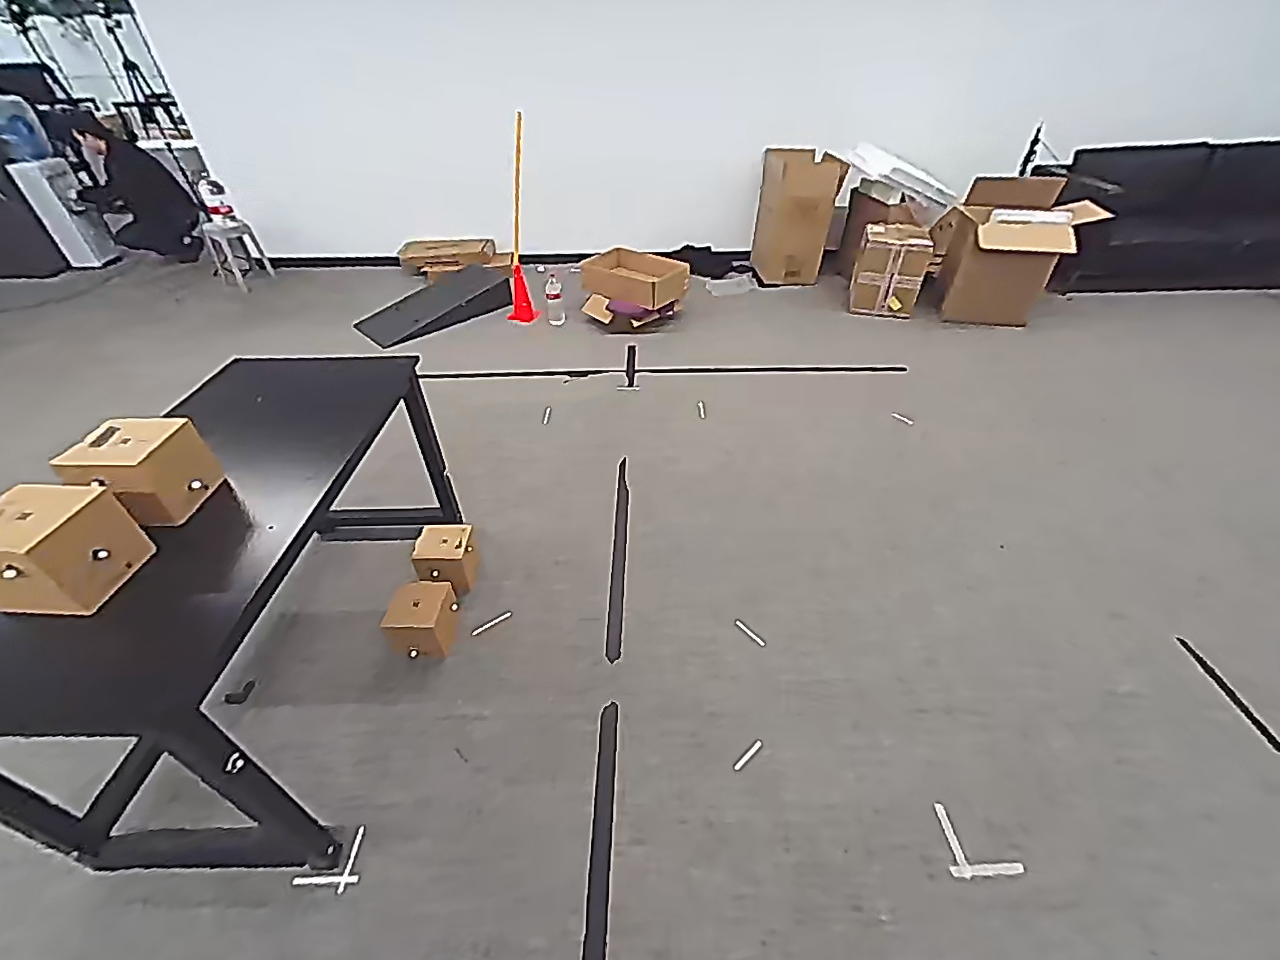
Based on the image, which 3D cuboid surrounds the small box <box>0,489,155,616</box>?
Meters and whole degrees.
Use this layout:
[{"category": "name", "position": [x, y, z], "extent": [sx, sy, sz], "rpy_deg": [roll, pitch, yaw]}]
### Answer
[{"category": "small box", "position": [-1.065, 0.134, 0.991], "extent": [0.179, 0.176, 0.168], "rpy_deg": [1, 39, 3]}]

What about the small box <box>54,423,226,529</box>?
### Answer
[{"category": "small box", "position": [-1.059, -0.008, 1.165], "extent": [0.179, 0.176, 0.168], "rpy_deg": [0, 40, 0]}]

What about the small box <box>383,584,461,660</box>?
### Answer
[{"category": "small box", "position": [-0.691, 0.456, 1.739], "extent": [0.168, 0.176, 0.179], "rpy_deg": [-2, 40, 1]}]

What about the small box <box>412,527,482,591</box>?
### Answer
[{"category": "small box", "position": [-0.685, 0.287, 1.940], "extent": [0.179, 0.176, 0.168], "rpy_deg": [-2, 40, 1]}]
